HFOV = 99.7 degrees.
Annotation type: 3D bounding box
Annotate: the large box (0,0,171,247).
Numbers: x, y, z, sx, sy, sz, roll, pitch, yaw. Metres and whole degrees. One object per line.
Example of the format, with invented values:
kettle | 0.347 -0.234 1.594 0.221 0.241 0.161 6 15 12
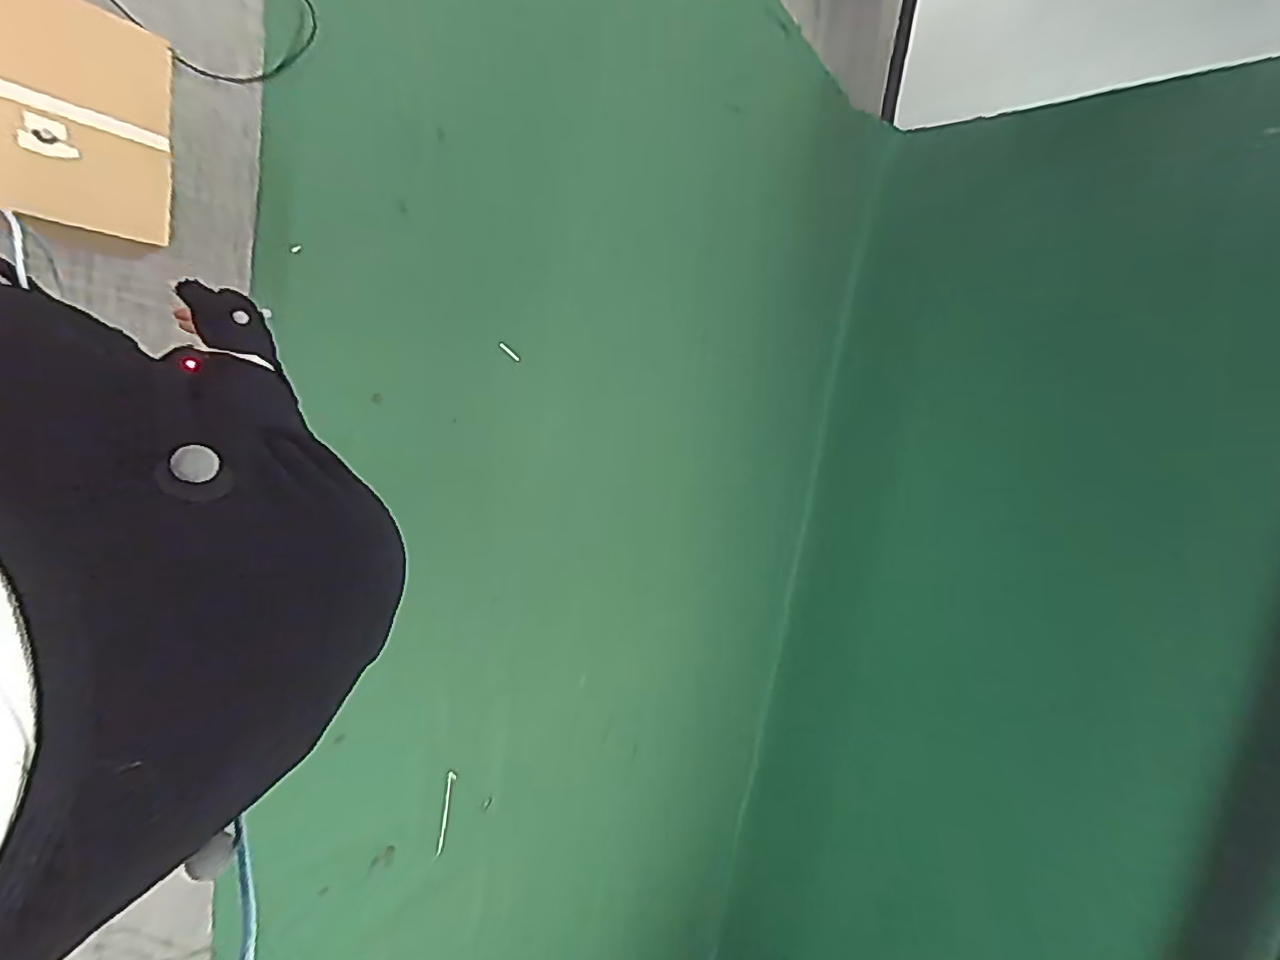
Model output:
large box | -0.992 -0.572 0.802 0.408 0.320 0.320 -2 104 -50
